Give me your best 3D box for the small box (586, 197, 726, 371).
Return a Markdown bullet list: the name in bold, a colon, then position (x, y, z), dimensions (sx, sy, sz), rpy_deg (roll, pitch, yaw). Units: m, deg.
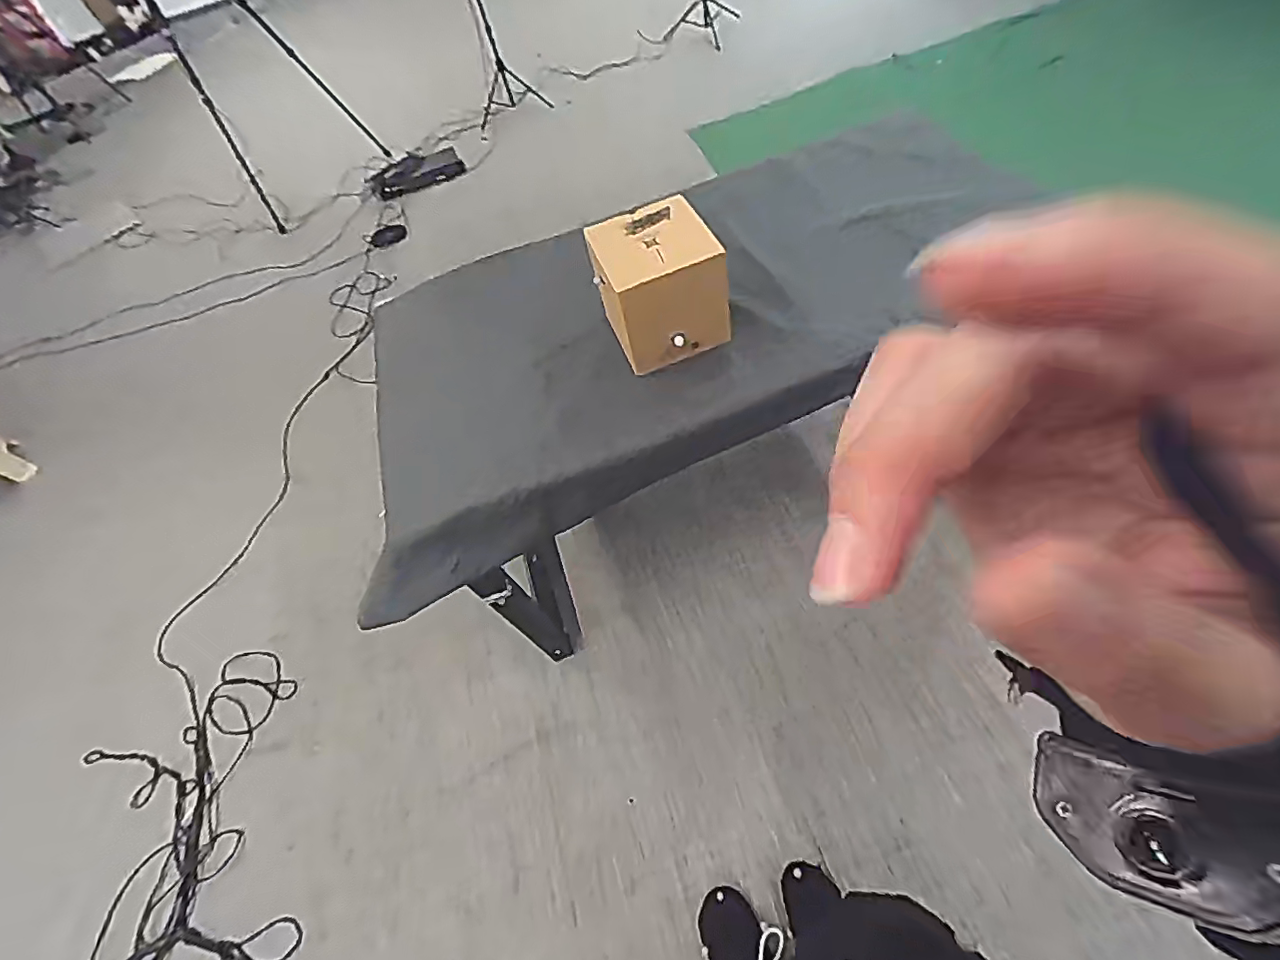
- **small box**: position (0.028, -0.308, 0.862), dimensions (0.168, 0.176, 0.179), rpy_deg (-21, 56, -2)
